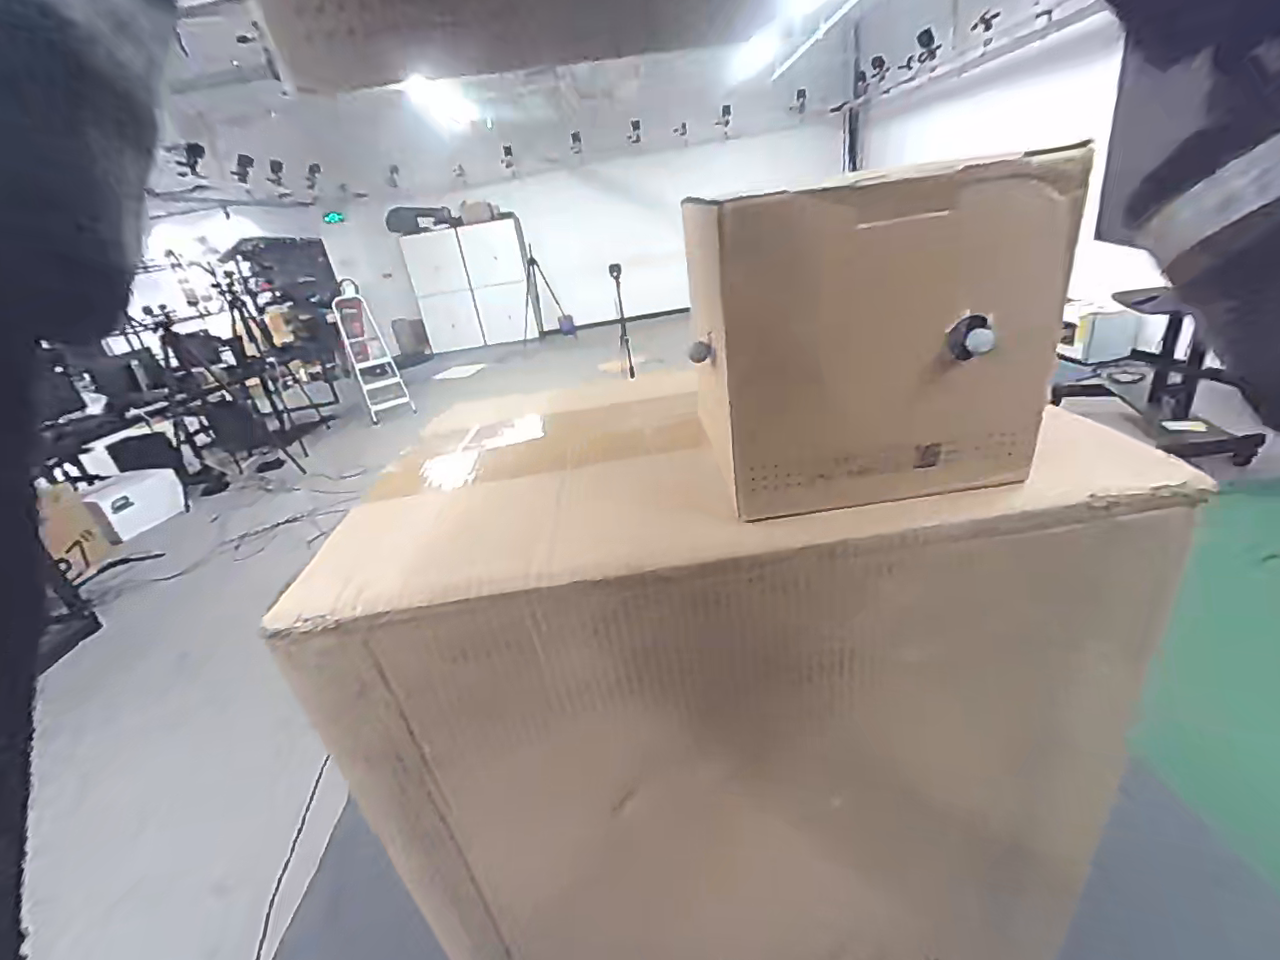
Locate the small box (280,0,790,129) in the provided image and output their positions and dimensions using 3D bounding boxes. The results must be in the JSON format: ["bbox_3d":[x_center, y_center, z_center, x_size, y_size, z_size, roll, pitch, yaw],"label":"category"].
[{"bbox_3d":[-0.043,-0.244,0.196,0.179,0.176,0.168,-11,42,-8],"label":"small box"}]

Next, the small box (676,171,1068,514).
[{"bbox_3d":[0.118,-0.087,0.349,0.168,0.176,0.179,-7,26,1],"label":"small box"}]
